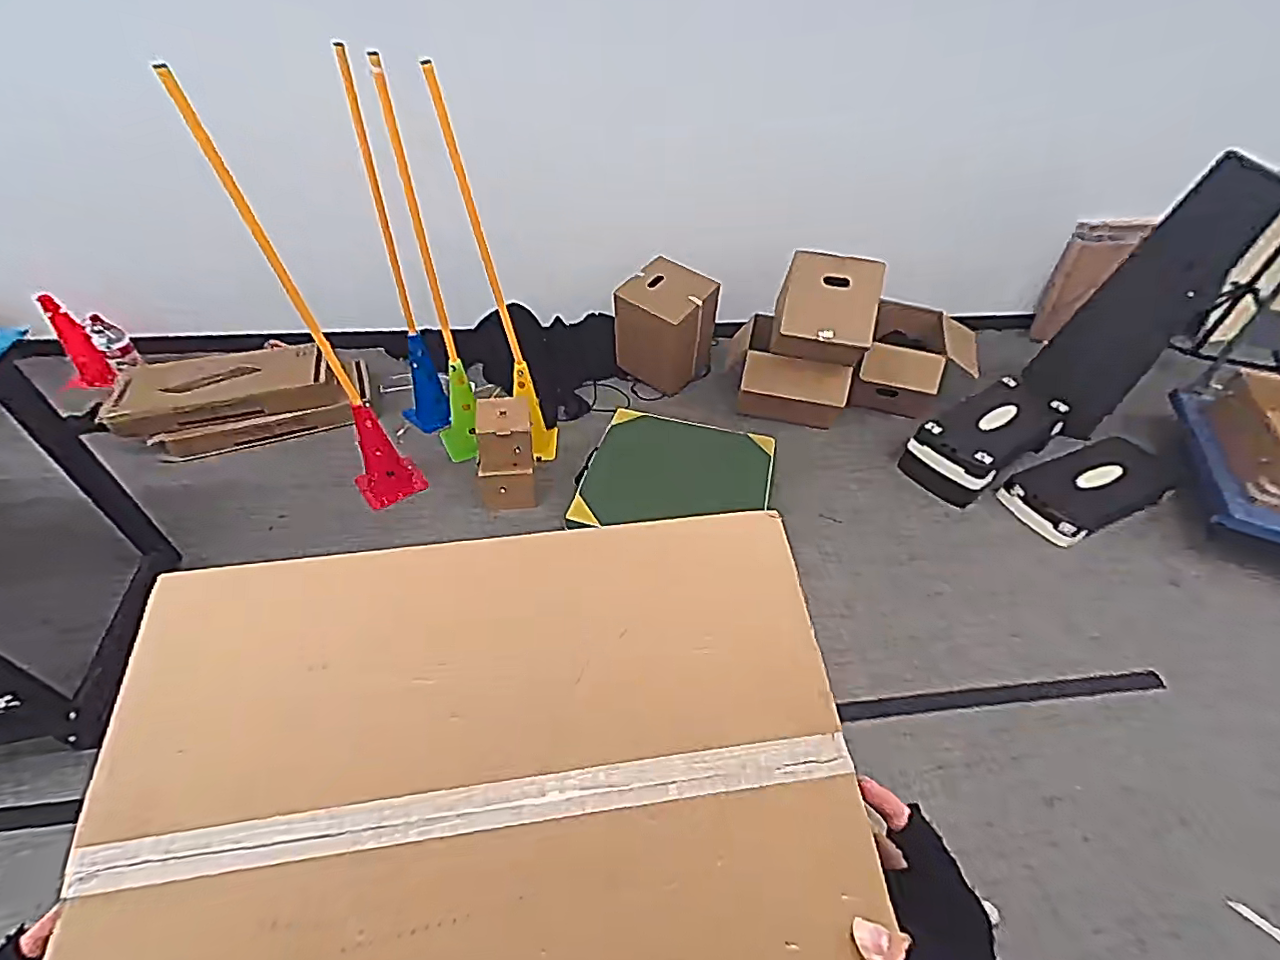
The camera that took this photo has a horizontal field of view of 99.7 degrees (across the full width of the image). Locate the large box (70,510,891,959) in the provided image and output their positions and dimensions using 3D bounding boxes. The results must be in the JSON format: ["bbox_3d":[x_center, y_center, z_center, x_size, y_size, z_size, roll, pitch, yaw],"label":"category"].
[{"bbox_3d":[-0.089,0.248,0.430,0.408,0.320,0.320,-6,62,-5],"label":"large box"}]
